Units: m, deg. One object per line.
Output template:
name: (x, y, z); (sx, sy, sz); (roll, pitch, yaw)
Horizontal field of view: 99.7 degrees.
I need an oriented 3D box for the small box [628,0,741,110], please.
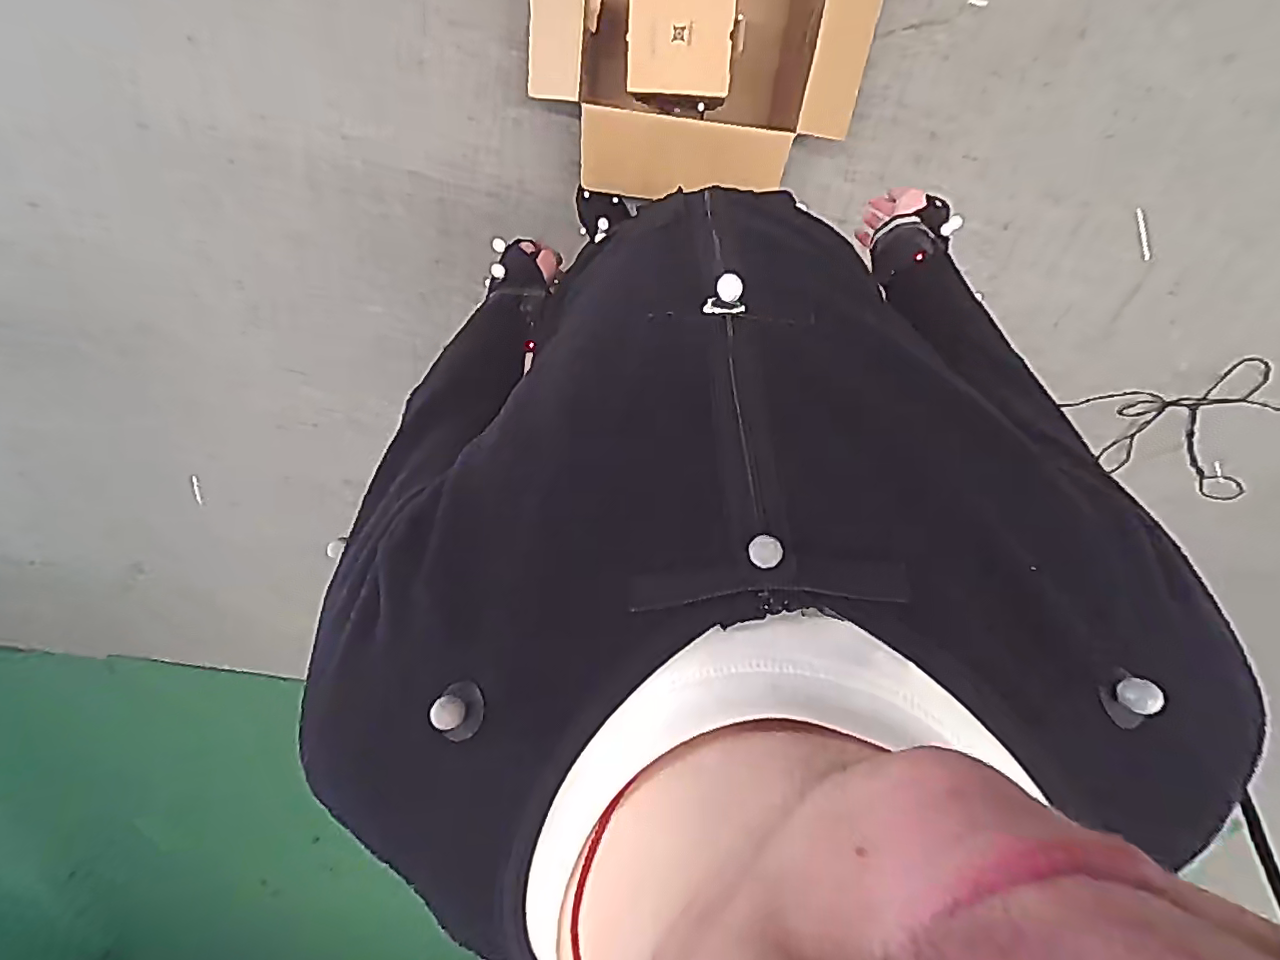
small box: (0.077, -0.766, 0.955); (0.179, 0.176, 0.168); (6, 119, 3)
